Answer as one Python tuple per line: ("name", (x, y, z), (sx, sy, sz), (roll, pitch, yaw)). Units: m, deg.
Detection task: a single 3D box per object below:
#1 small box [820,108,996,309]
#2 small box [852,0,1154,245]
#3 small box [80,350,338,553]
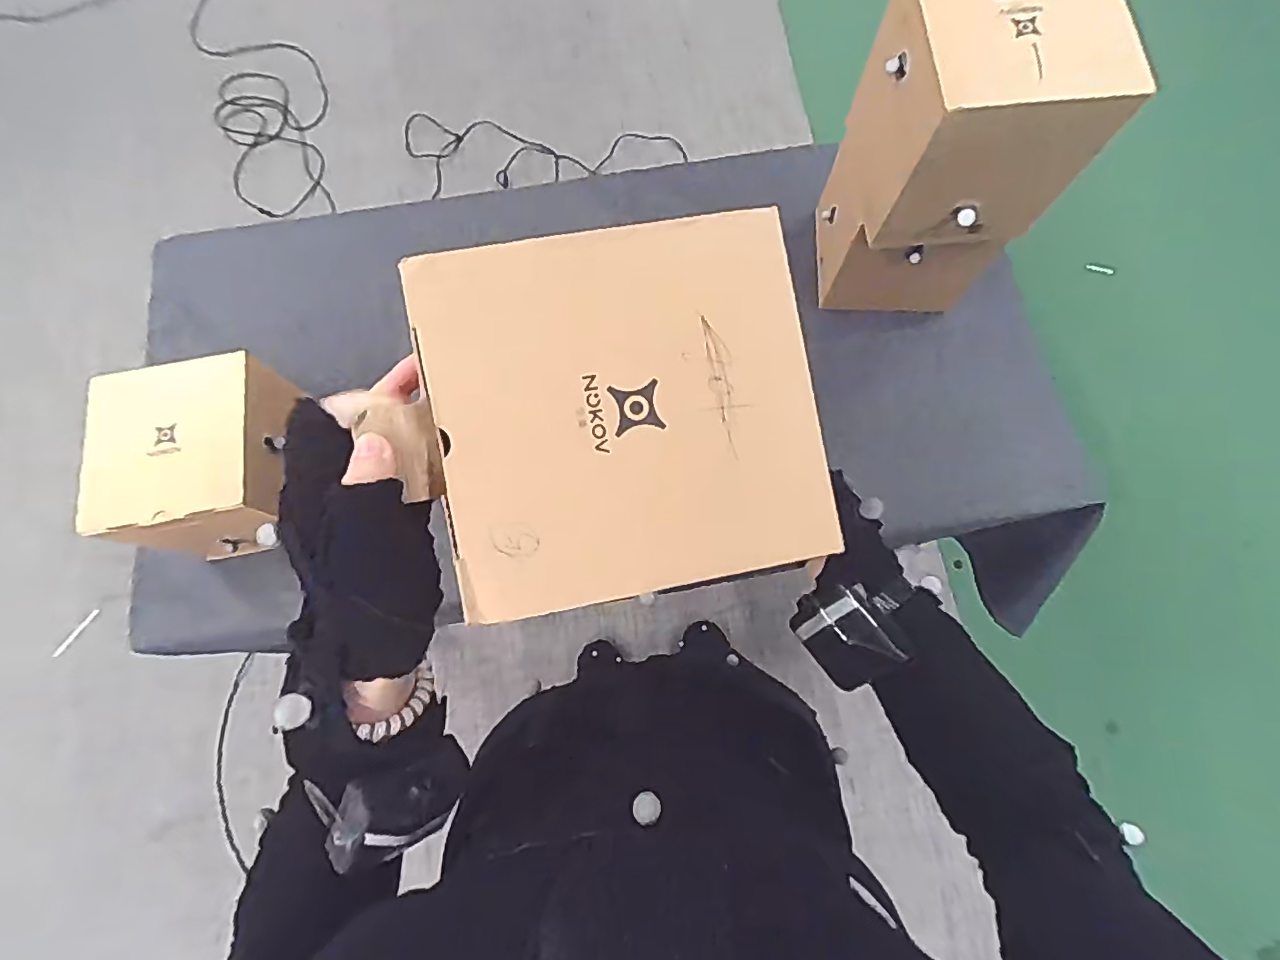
("small box", (0.334, -0.334, 0.687), (0.179, 0.176, 0.168), (3, 75, 3))
("small box", (0.321, -0.359, 0.524), (0.168, 0.176, 0.179), (-3, 76, 2))
("small box", (-0.478, -0.023, 0.629), (0.168, 0.176, 0.179), (-11, 75, -2))
